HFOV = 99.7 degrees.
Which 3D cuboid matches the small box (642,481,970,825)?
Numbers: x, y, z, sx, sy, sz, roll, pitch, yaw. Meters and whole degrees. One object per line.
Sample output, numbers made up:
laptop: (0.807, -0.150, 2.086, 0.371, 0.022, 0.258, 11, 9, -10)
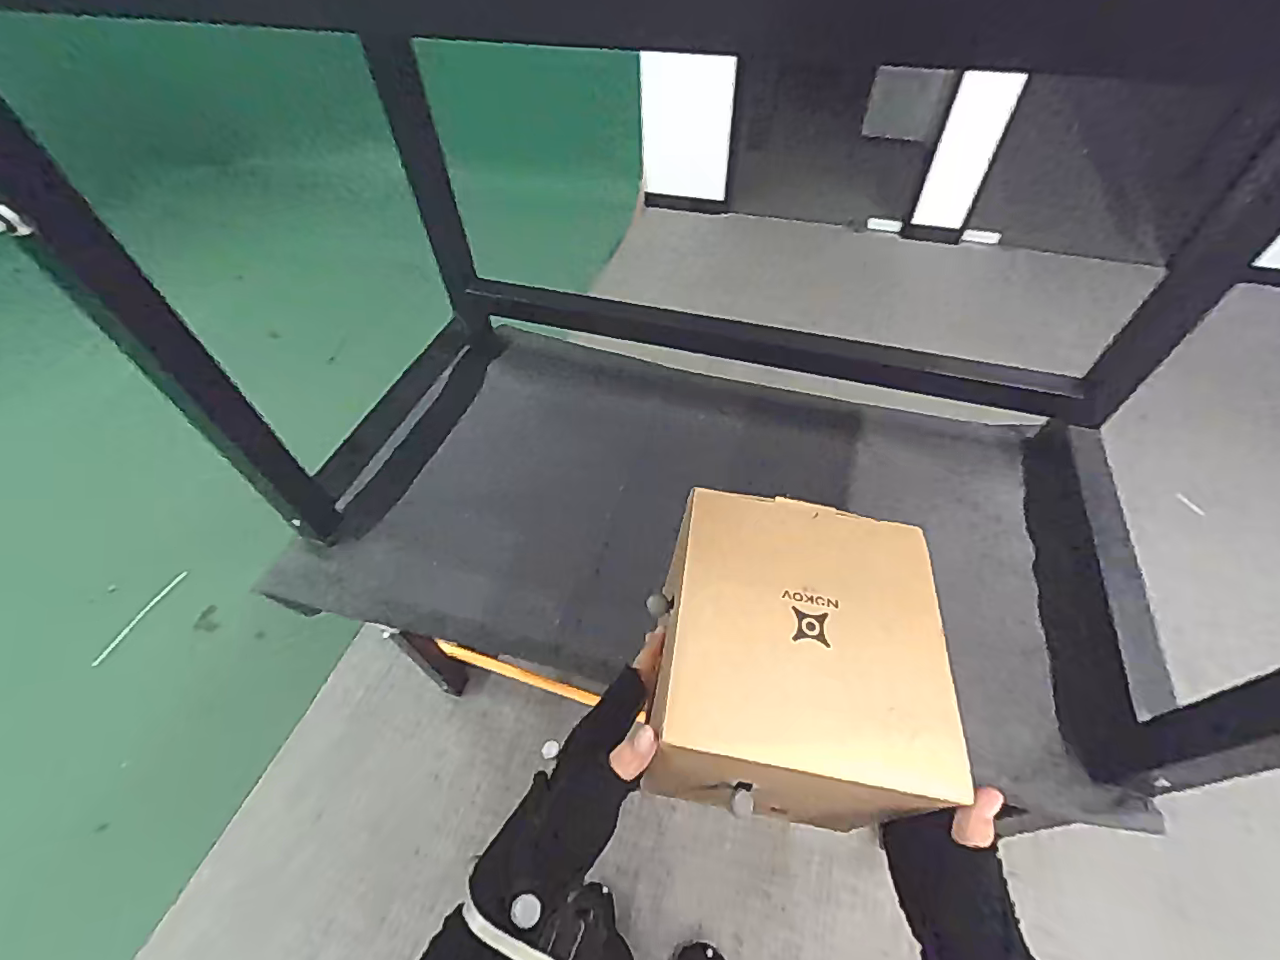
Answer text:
small box: (0.097, 0.130, 0.391, 0.168, 0.176, 0.179, 10, 51, 2)
